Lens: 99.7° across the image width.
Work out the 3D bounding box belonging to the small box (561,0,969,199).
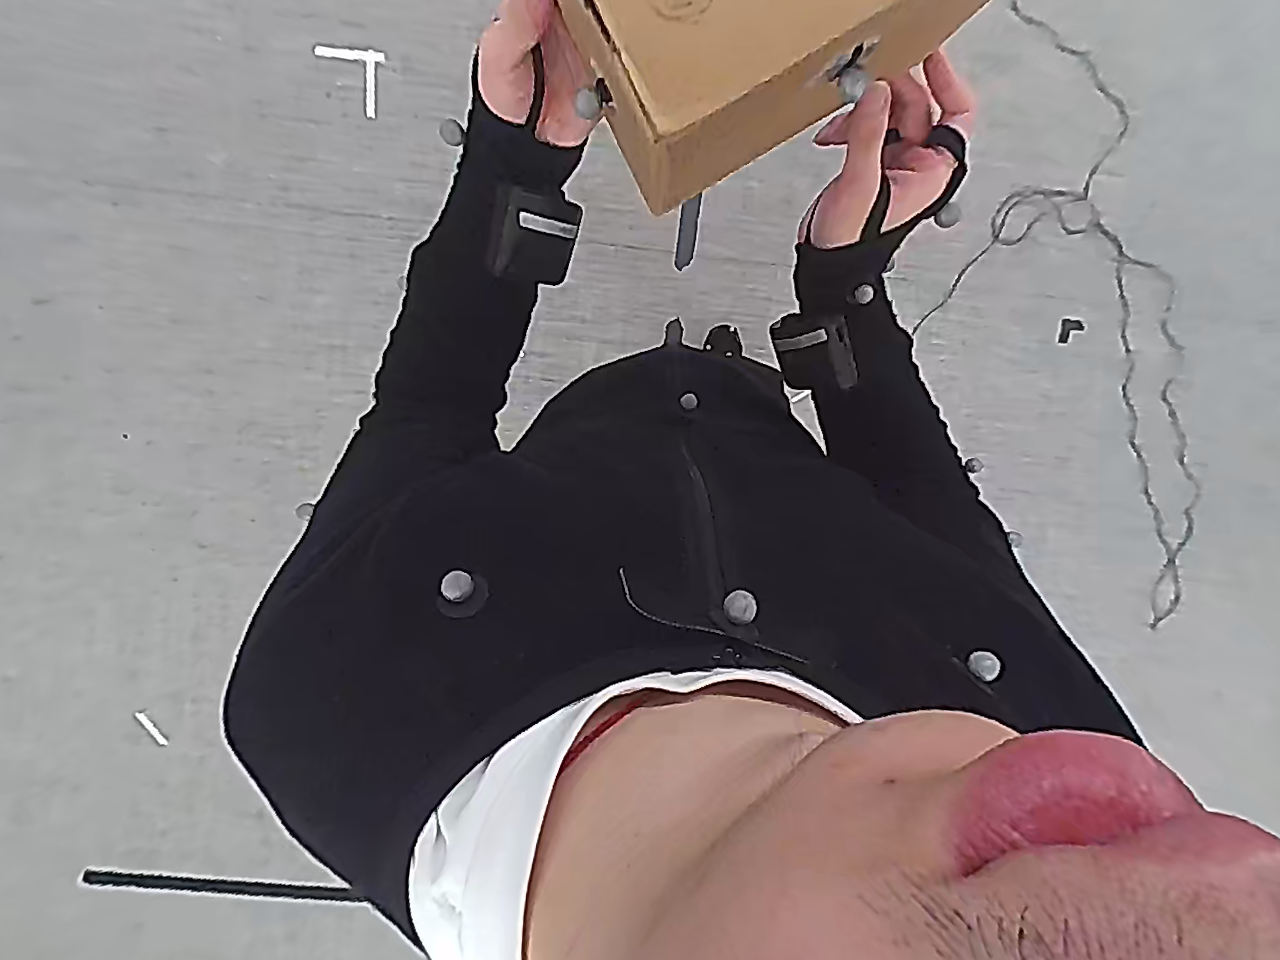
[{"bbox_3d":[0.047,-0.251,0.234,0.179,0.176,0.168,-27,107,9],"label":"small box"}]
